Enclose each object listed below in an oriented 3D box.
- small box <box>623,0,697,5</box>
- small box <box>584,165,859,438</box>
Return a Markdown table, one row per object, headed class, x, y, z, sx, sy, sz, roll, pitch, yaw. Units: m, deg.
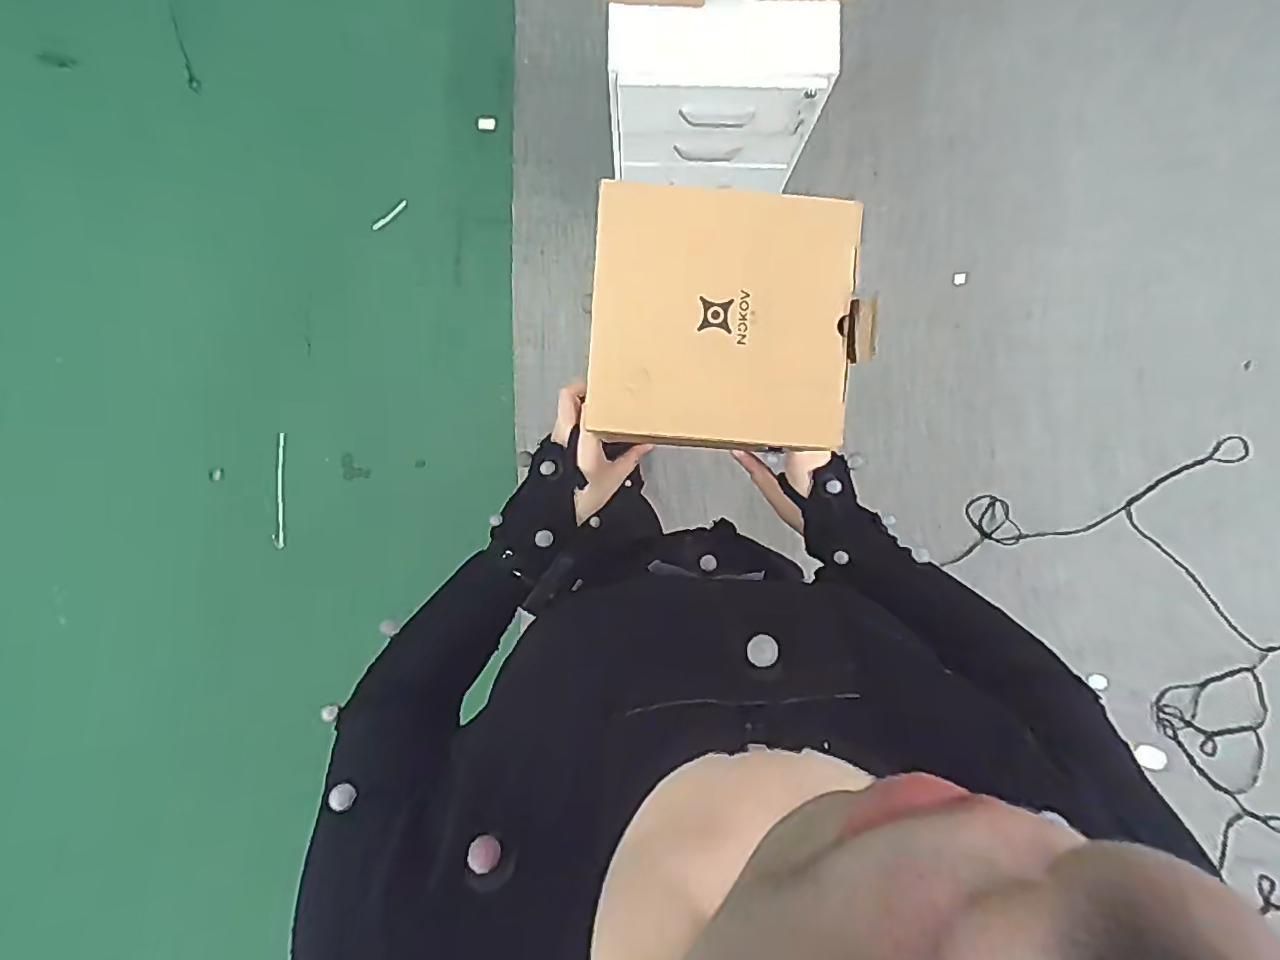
| class | x | y | z | sx | sy | sz | roll | pitch | yaw |
| --- | --- | --- | --- | --- | --- | --- | --- | --- | --- |
| small box | 0.025 | -0.891 | 0.841 | 0.179 | 0.176 | 0.168 | 1 | 89 | -2 |
| small box | 0.053 | -0.124 | 0.442 | 0.179 | 0.176 | 0.168 | 4 | 92 | -2 |
